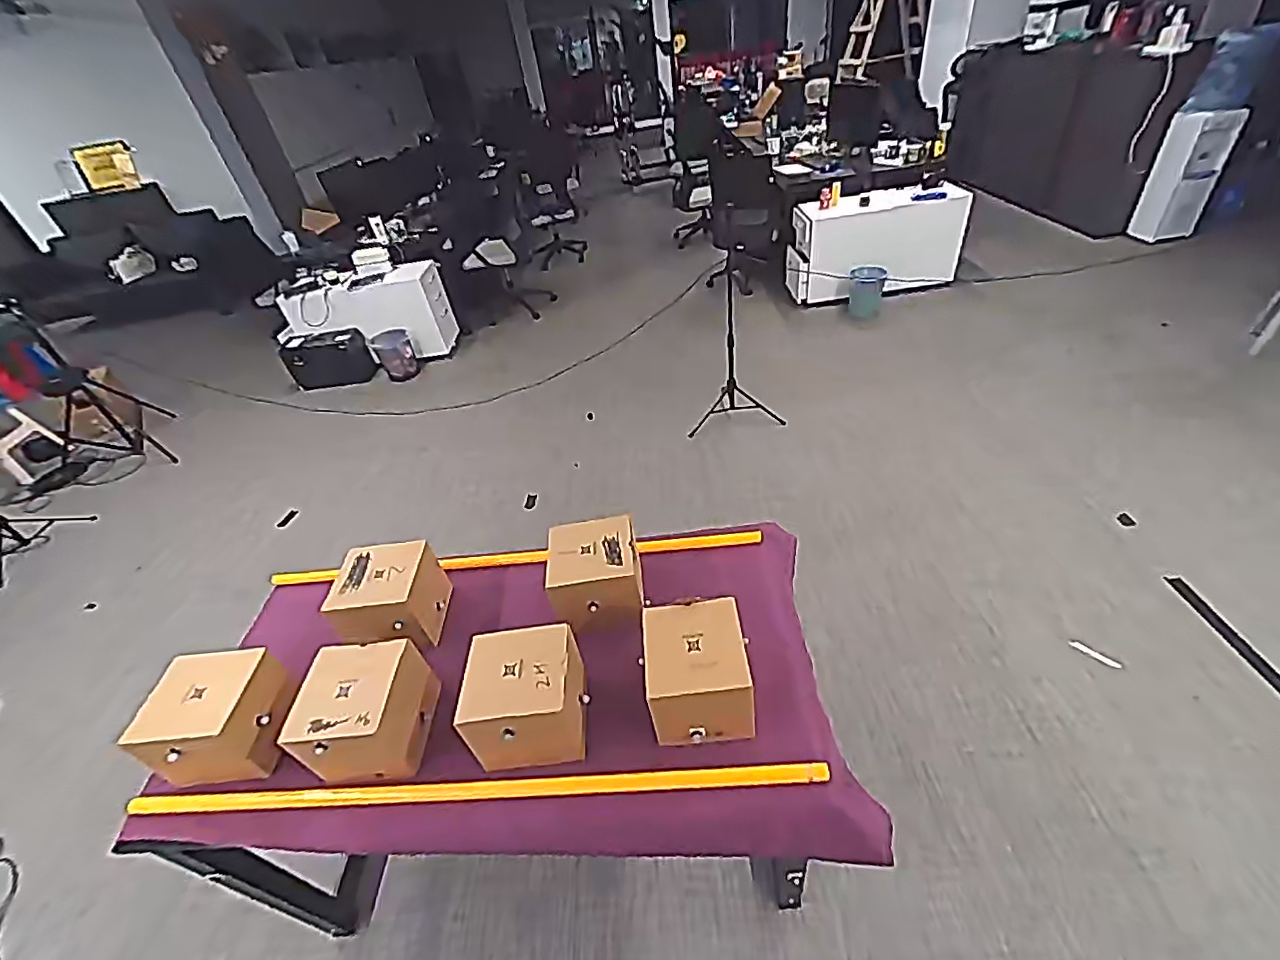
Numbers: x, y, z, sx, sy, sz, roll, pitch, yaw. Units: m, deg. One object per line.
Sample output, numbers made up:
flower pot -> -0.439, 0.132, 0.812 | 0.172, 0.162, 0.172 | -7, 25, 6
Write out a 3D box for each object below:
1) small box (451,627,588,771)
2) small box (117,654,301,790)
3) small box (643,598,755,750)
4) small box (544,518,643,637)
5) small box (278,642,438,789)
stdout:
small box -> -0.196, 0.381, 0.935 | 0.179, 0.176, 0.168 | -8, 38, 3
small box -> -0.757, 0.442, 0.985 | 0.179, 0.176, 0.168 | -7, 39, 4
small box -> 0.099, 0.332, 0.928 | 0.168, 0.176, 0.179 | -9, 37, 4
small box -> -0.089, 0.204, 1.127 | 0.179, 0.176, 0.168 | -10, 40, 3
small box -> -0.480, 0.416, 0.957 | 0.168, 0.176, 0.179 | -8, 39, 5
